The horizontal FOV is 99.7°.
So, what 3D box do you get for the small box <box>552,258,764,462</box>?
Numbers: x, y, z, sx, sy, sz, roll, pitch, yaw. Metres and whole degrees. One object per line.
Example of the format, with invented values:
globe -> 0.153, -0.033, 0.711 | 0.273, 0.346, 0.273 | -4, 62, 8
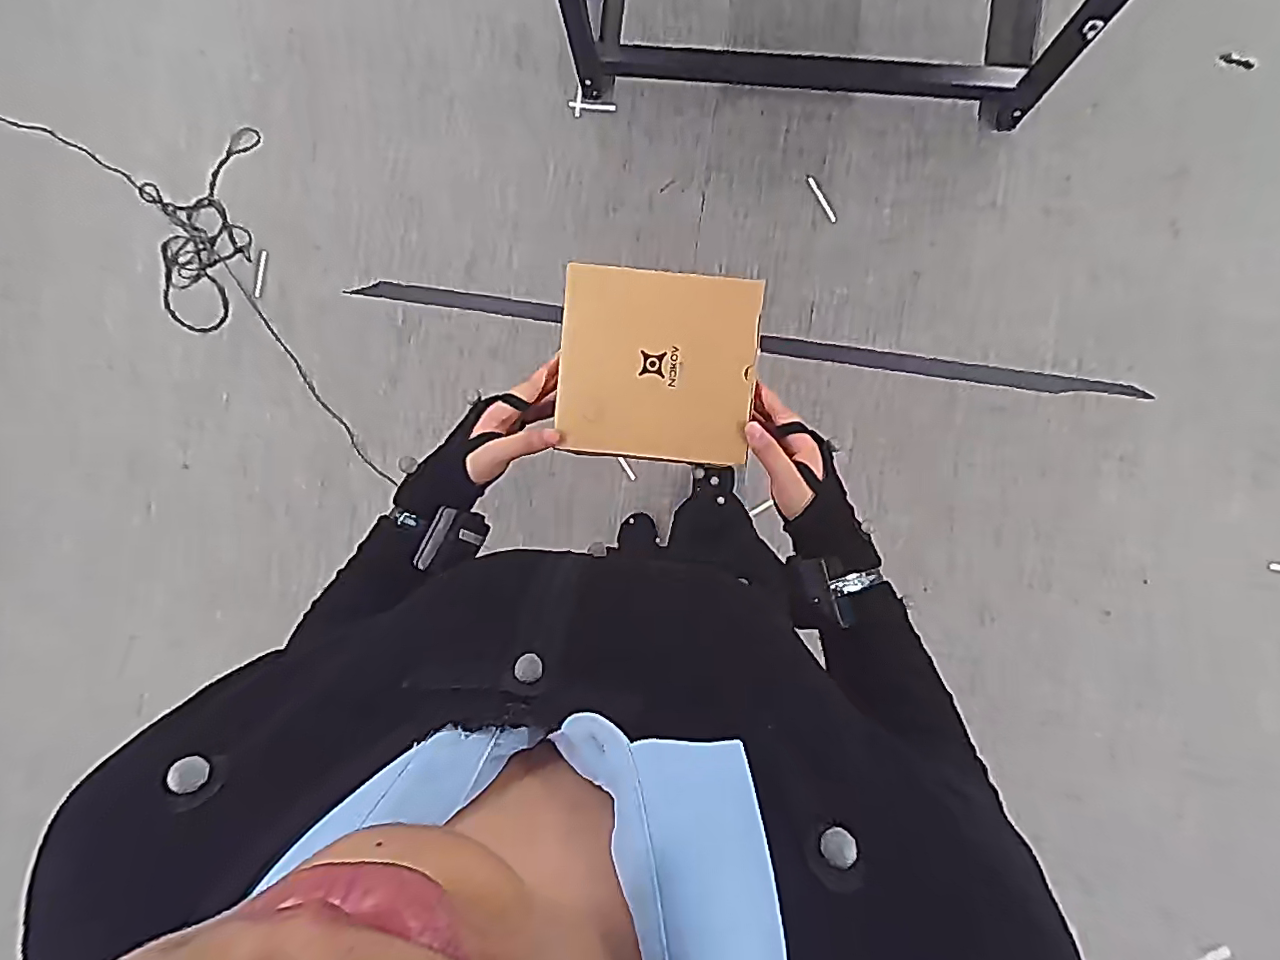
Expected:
small box -> 0.016, -0.108, 0.554 | 0.179, 0.176, 0.168 | 5, 91, -1
